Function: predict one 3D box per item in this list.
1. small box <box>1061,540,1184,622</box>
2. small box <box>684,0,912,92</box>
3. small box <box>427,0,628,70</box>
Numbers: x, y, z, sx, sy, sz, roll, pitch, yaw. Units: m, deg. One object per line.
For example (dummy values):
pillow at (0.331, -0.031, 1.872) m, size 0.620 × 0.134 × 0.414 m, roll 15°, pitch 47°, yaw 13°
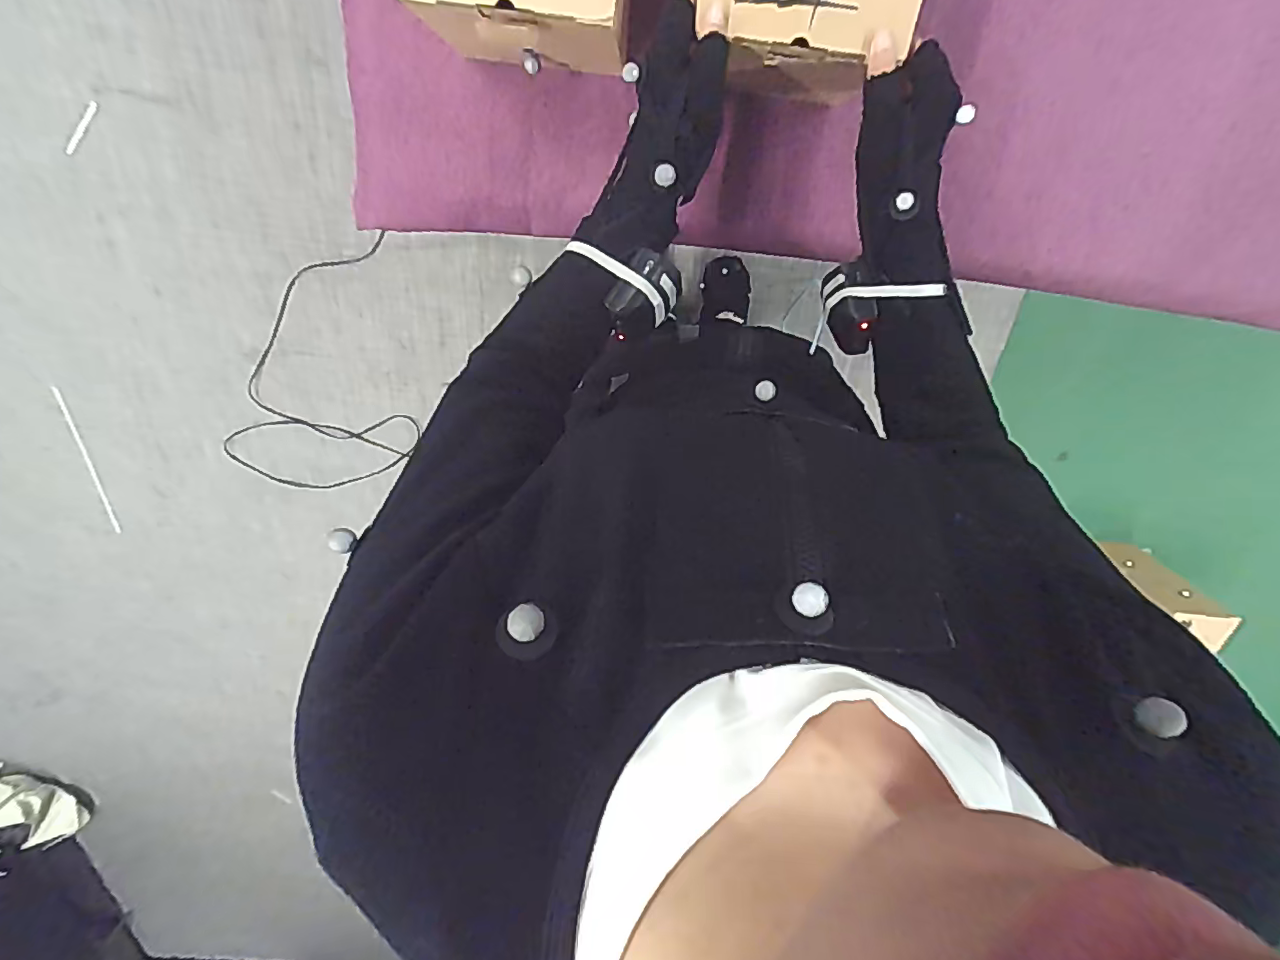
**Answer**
small box at (1.405, 0.292, 1.588) m, size 0.179 × 0.176 × 0.168 m, roll 6°, pitch 116°, yaw -1°
small box at (0.130, -0.445, 0.446) m, size 0.168 × 0.176 × 0.179 m, roll 7°, pitch 116°, yaw -2°
small box at (-0.091, -0.468, 0.439) m, size 0.168 × 0.176 × 0.179 m, roll 6°, pitch 116°, yaw -1°
